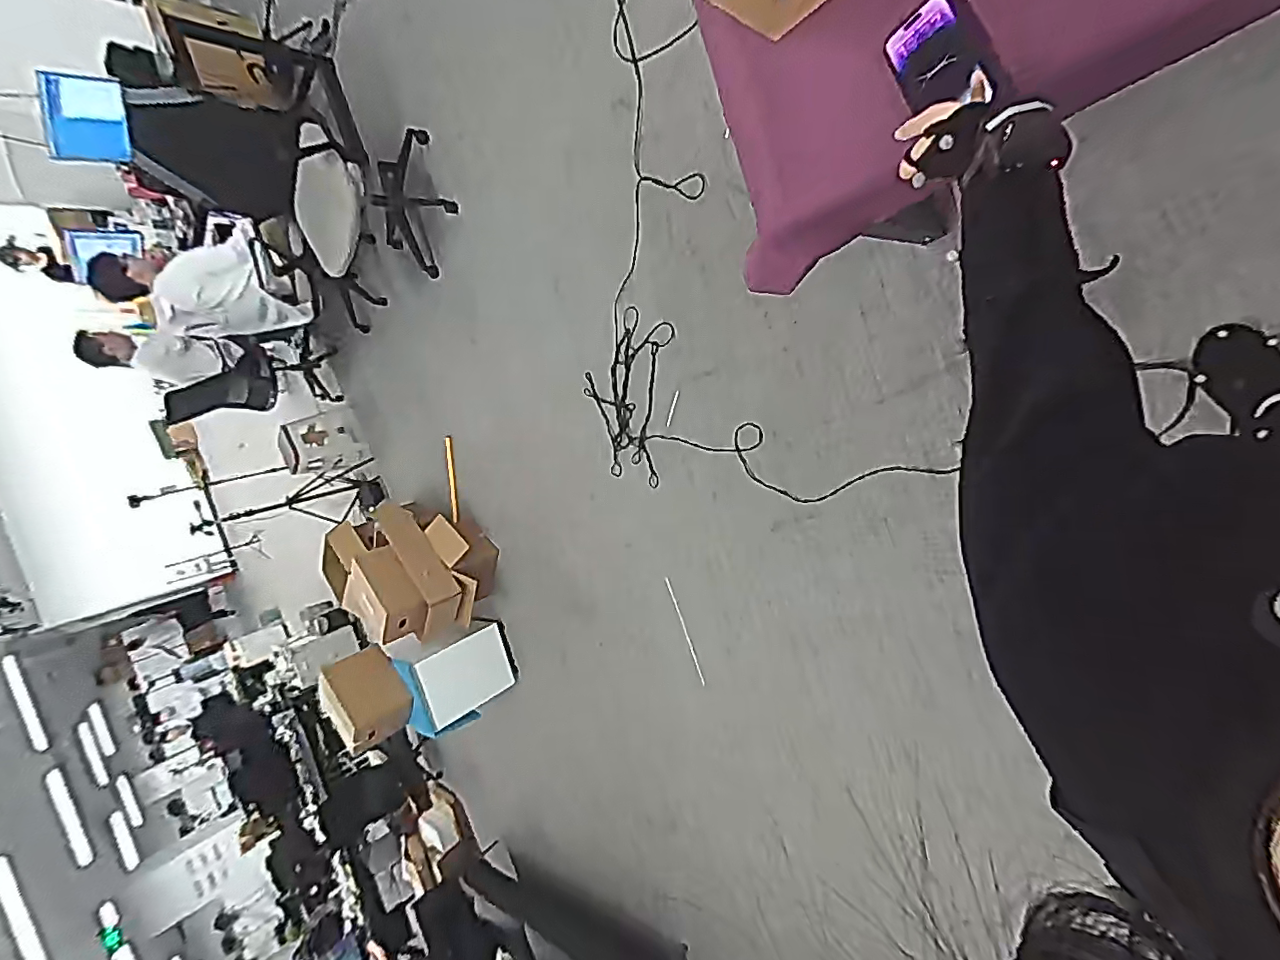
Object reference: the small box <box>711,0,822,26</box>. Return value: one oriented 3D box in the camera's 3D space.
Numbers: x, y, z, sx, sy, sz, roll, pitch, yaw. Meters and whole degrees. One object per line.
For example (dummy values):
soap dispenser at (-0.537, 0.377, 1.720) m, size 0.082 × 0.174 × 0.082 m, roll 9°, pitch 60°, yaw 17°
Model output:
small box at (0.164, -0.655, 0.599) m, size 0.168 × 0.176 × 0.179 m, roll -11°, pitch 96°, yaw 47°
